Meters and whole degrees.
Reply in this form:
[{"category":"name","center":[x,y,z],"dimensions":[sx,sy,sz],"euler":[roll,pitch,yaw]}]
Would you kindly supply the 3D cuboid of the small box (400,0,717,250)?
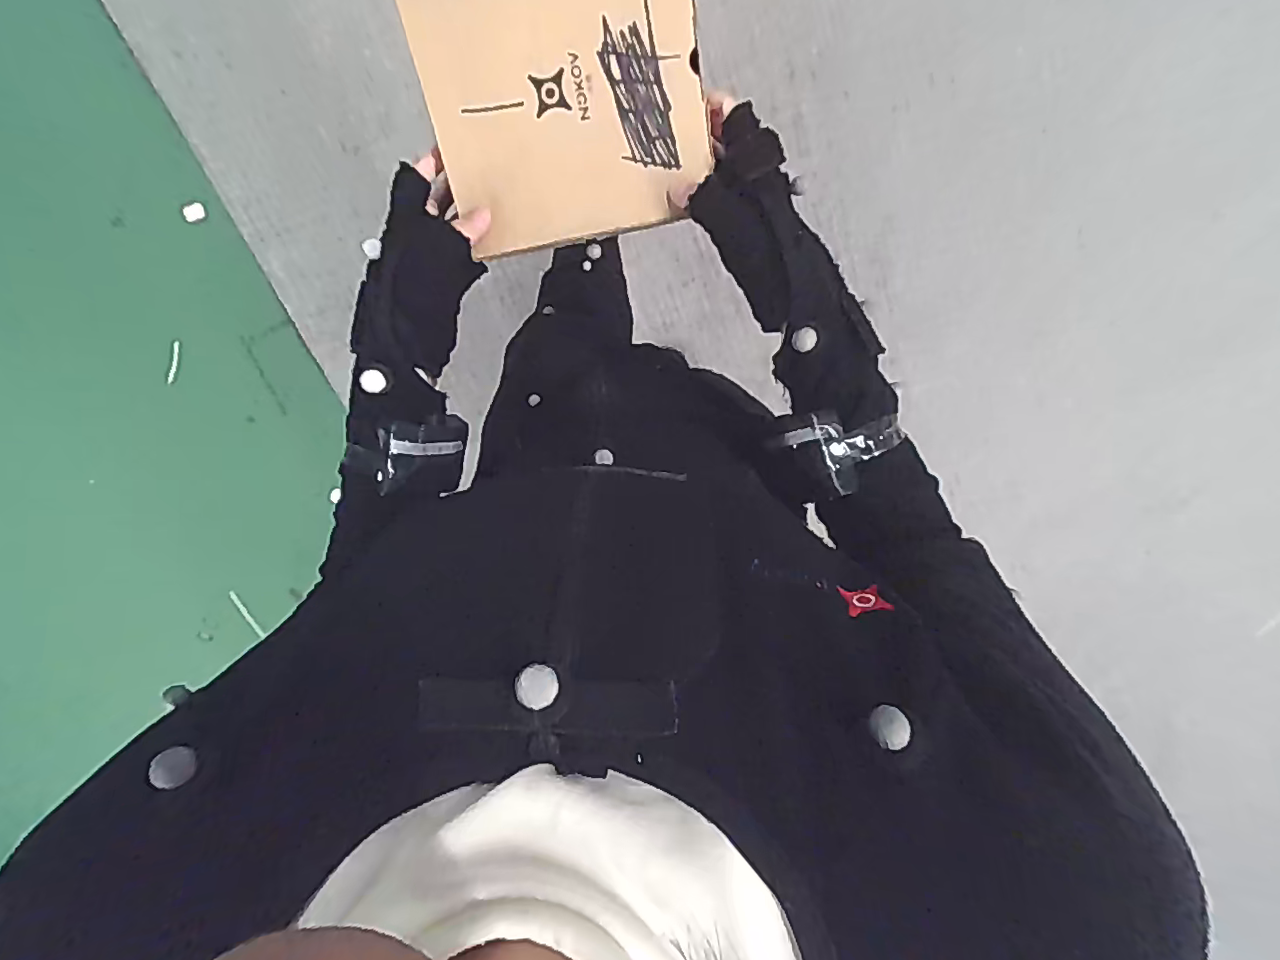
[{"category":"small box","center":[-0.046,-0.280,0.410],"dimensions":[0.179,0.176,0.168],"euler":[-9,113,6]}]
